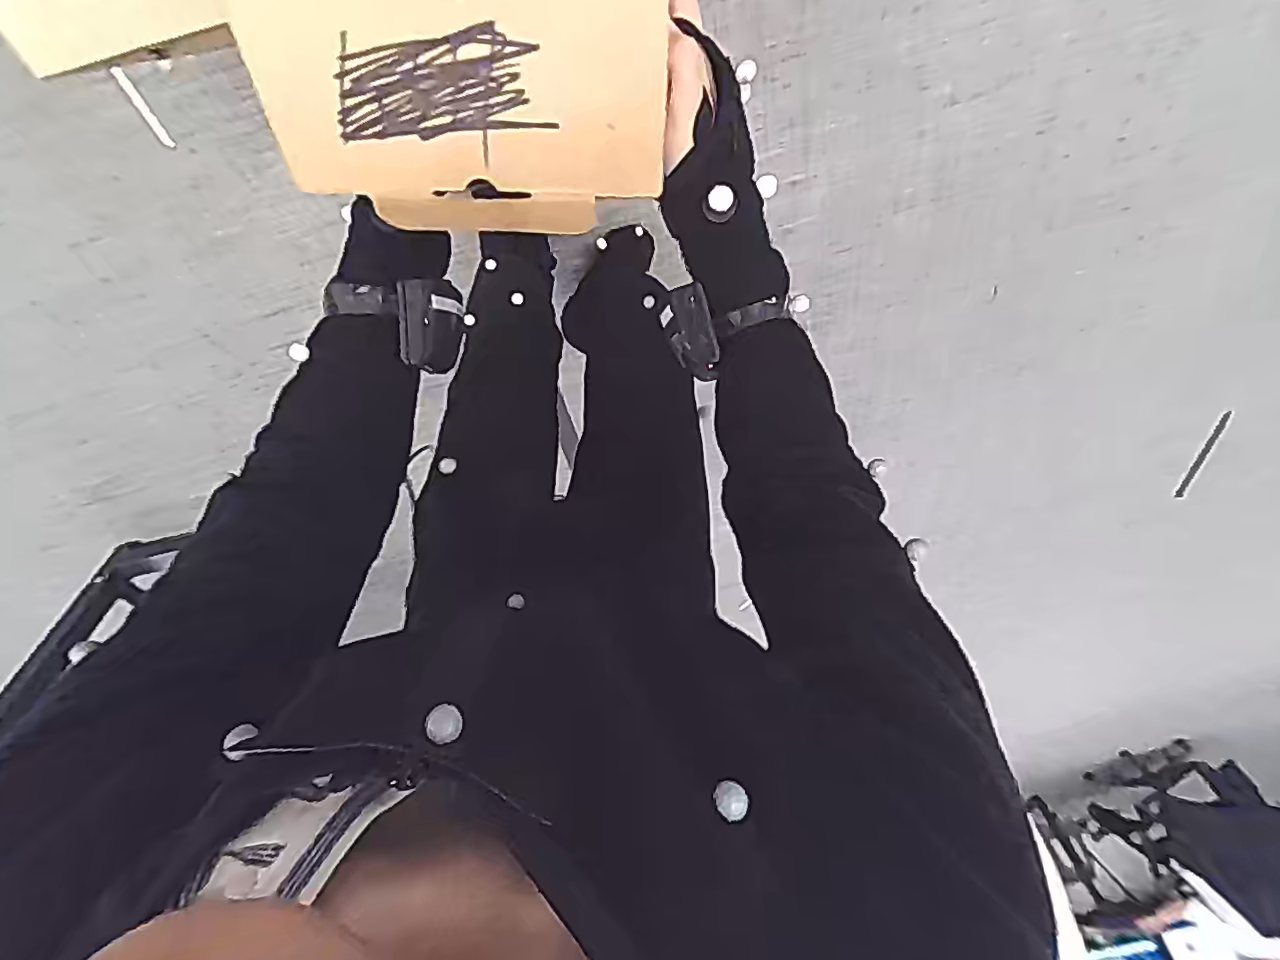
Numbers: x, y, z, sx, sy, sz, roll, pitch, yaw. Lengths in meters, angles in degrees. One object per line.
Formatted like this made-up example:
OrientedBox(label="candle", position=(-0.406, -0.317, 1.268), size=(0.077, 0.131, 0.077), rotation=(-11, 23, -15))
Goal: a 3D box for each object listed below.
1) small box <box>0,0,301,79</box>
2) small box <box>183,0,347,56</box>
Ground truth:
OrientedBox(label="small box", position=(-0.405, -0.434, 0.415), size=(0.179, 0.176, 0.168), rotation=(-15, 133, 1))
OrientedBox(label="small box", position=(-0.428, -0.543, 0.537), size=(0.179, 0.176, 0.168), rotation=(-16, 133, 2))
